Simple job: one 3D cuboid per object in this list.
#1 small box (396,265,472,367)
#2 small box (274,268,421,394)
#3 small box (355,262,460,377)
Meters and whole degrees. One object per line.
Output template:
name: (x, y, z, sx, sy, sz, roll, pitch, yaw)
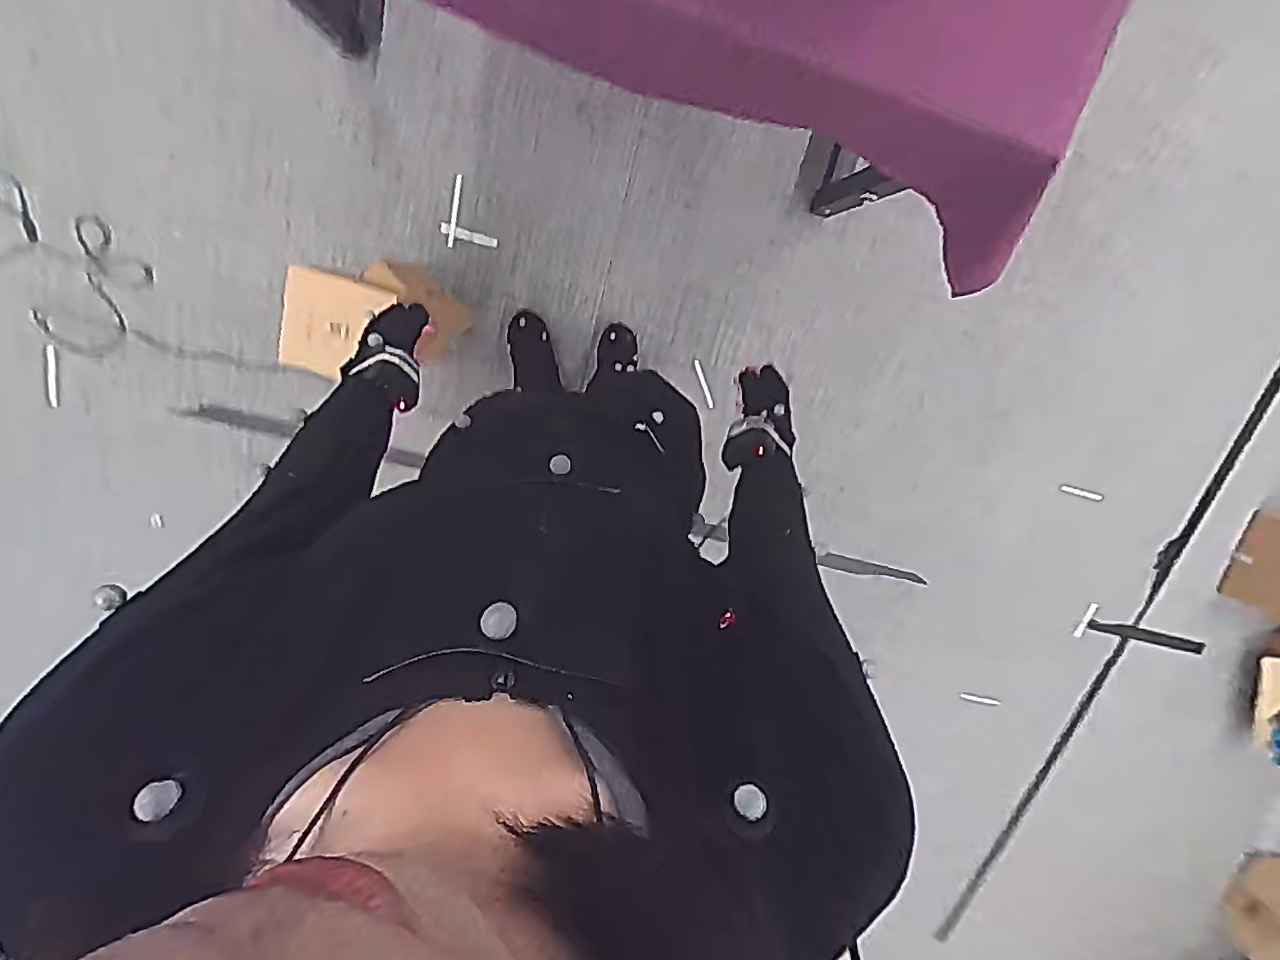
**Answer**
small box: (-0.528, -0.379, 1.283, 0.168, 0.176, 0.179, -43, 107, 9)
small box: (-0.515, -0.269, 0.975, 0.179, 0.176, 0.168, 15, 105, -10)
small box: (-0.510, -0.325, 1.130, 0.168, 0.176, 0.179, -41, 107, 8)
